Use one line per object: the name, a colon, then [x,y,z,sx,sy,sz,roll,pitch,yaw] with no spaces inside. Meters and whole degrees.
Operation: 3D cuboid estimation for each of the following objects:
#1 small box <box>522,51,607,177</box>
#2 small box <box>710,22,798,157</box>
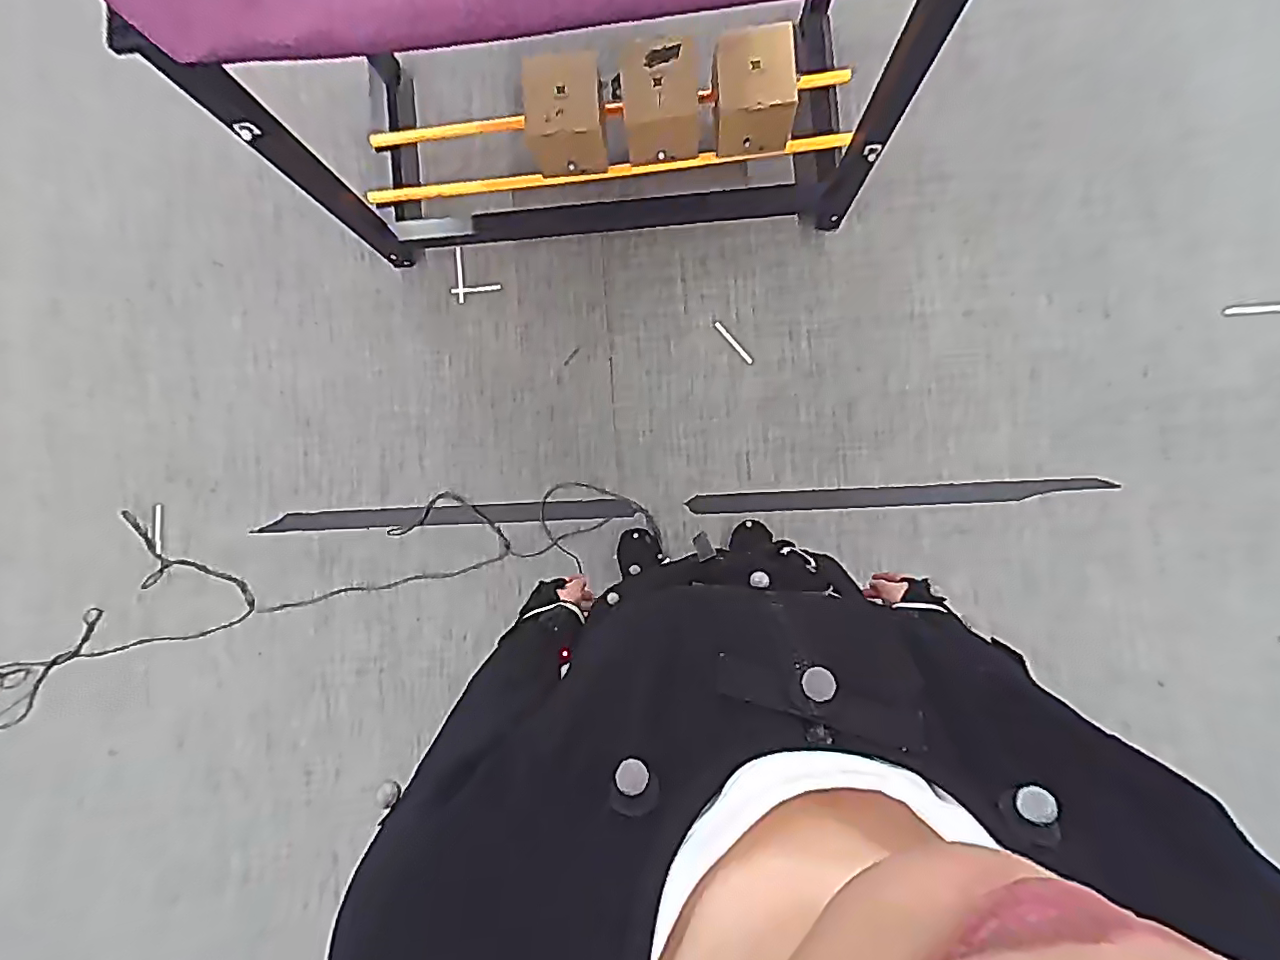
small box: [-0.169,-0.835,1.247,0.168,0.176,0.179,-3,89,4]
small box: [0.249,-0.869,1.217,0.168,0.176,0.179,-5,89,4]
